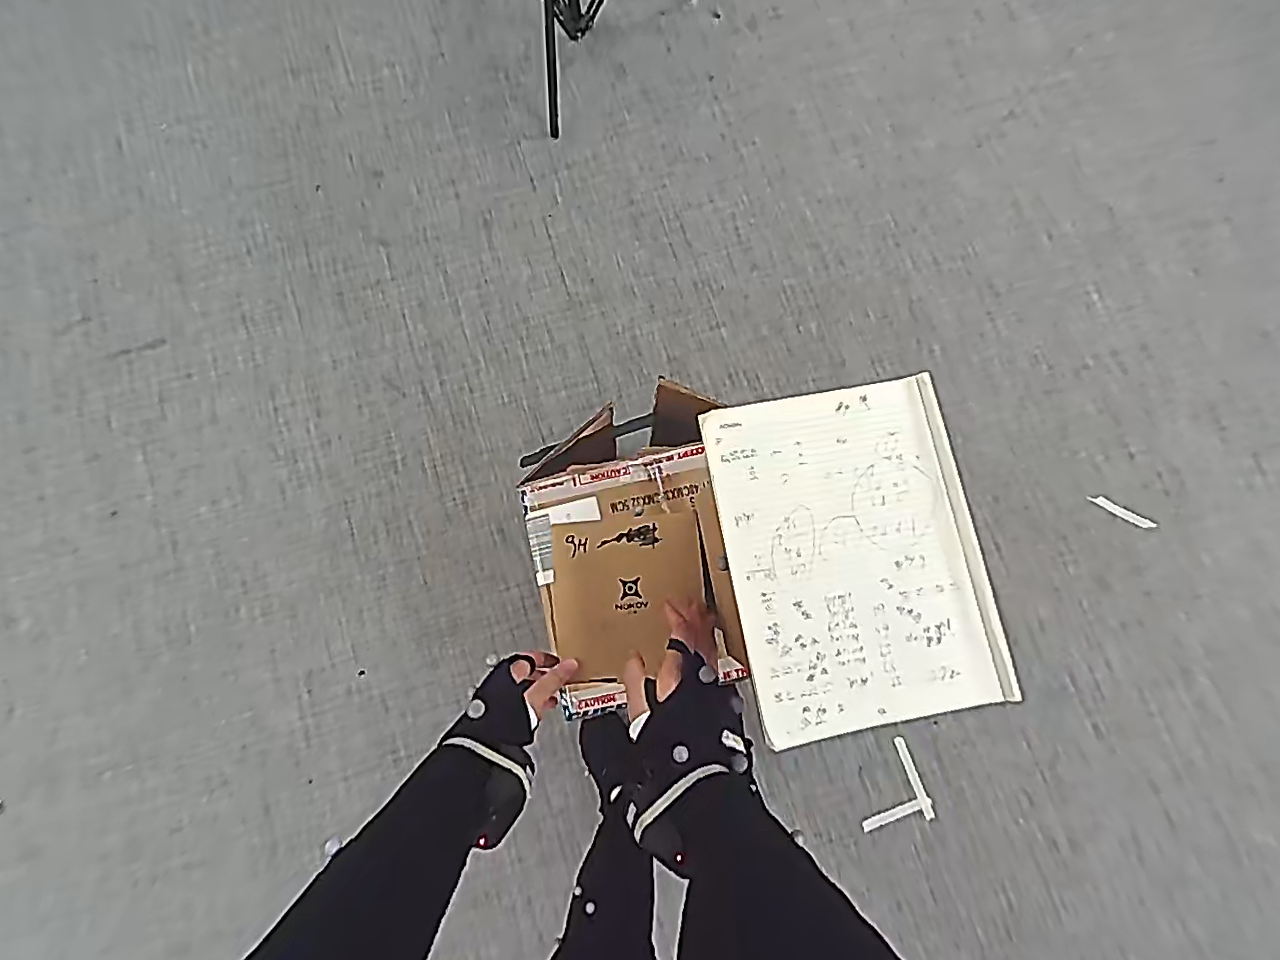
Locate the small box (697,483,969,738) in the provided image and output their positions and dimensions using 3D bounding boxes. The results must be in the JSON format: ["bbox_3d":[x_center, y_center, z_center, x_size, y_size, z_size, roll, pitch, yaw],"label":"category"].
[{"bbox_3d":[0.158,0.112,0.506,0.168,0.176,0.179,-10,82,-4],"label":"small box"}]
